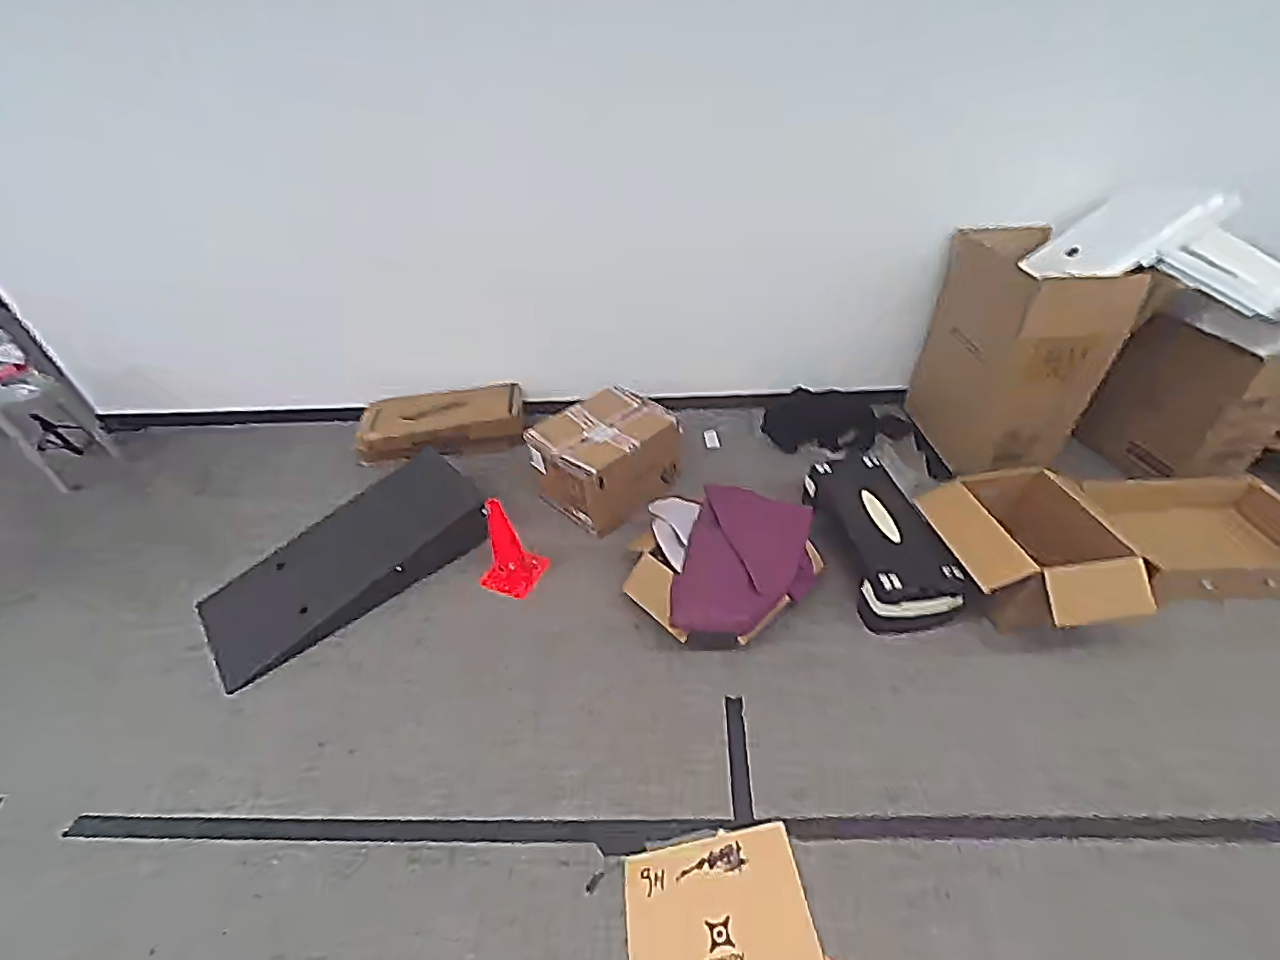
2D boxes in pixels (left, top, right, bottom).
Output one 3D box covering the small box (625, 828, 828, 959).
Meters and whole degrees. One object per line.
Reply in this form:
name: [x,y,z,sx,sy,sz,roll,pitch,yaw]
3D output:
small box: [0.092,0.463,0.491,0.168,0.176,0.179,-16,32,4]
